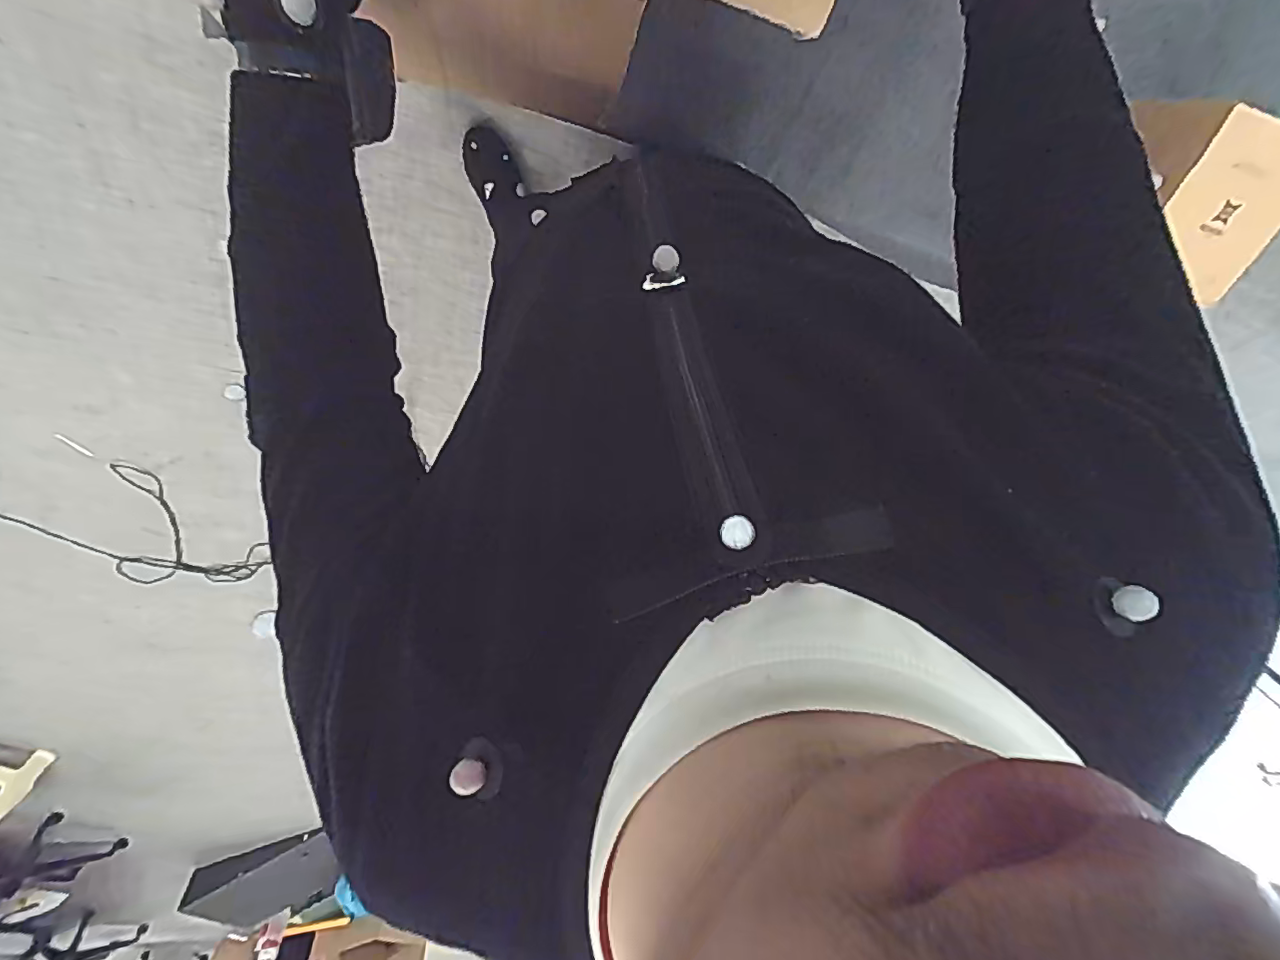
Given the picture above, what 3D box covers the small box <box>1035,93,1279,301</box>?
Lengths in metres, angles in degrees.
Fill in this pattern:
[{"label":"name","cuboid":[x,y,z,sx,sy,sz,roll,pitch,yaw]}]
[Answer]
[{"label":"small box","cuboid":[0.637,-0.345,0.659,0.168,0.176,0.179,8,124,-13]}]
